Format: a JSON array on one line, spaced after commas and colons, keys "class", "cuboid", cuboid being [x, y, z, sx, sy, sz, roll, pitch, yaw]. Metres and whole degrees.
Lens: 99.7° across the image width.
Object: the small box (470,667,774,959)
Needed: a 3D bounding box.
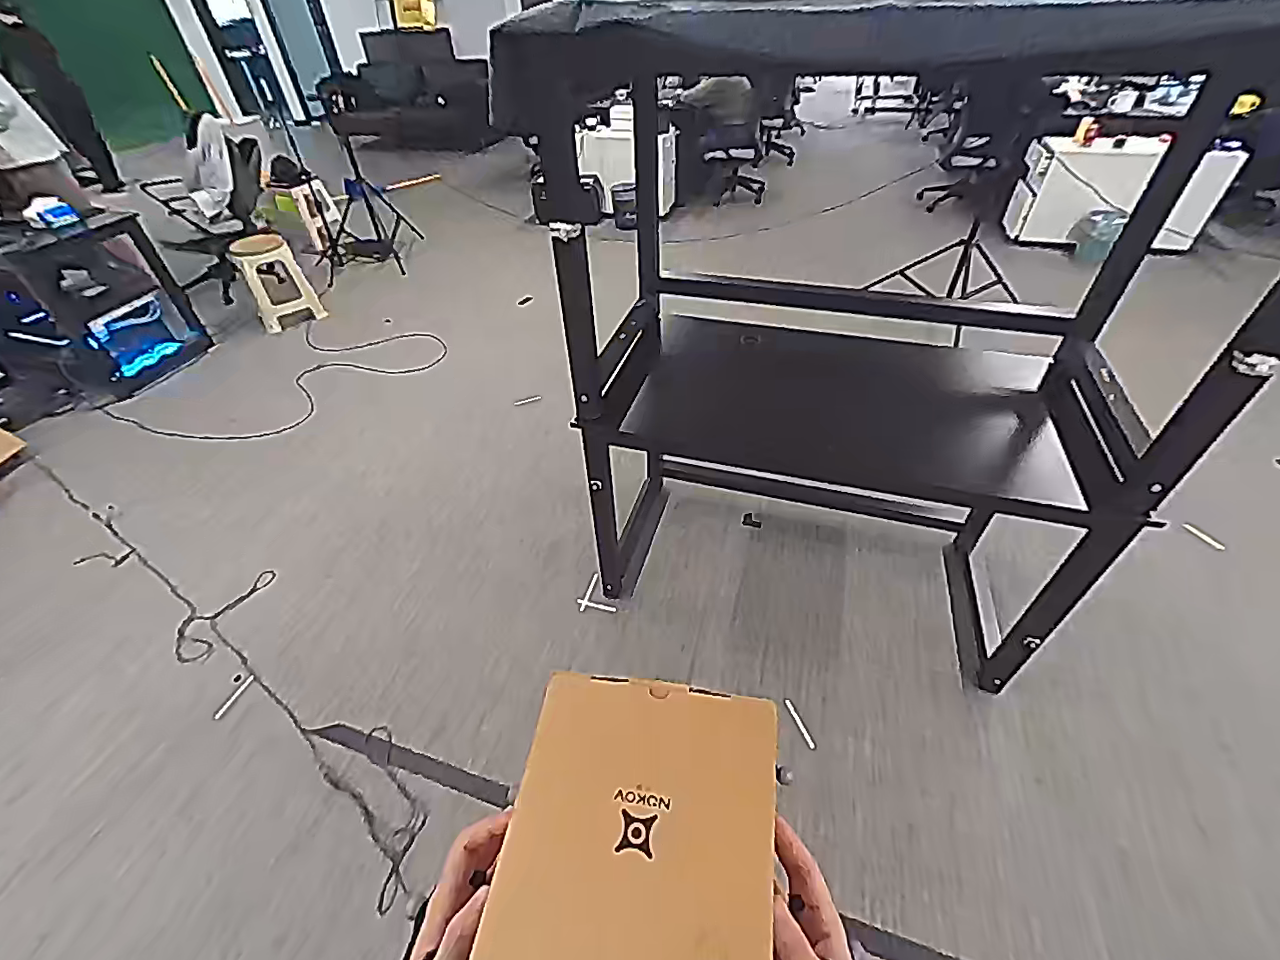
[{"class": "small box", "cuboid": [0.008, 0.262, 0.393, 0.168, 0.176, 0.179, 3, 49, 11]}]
